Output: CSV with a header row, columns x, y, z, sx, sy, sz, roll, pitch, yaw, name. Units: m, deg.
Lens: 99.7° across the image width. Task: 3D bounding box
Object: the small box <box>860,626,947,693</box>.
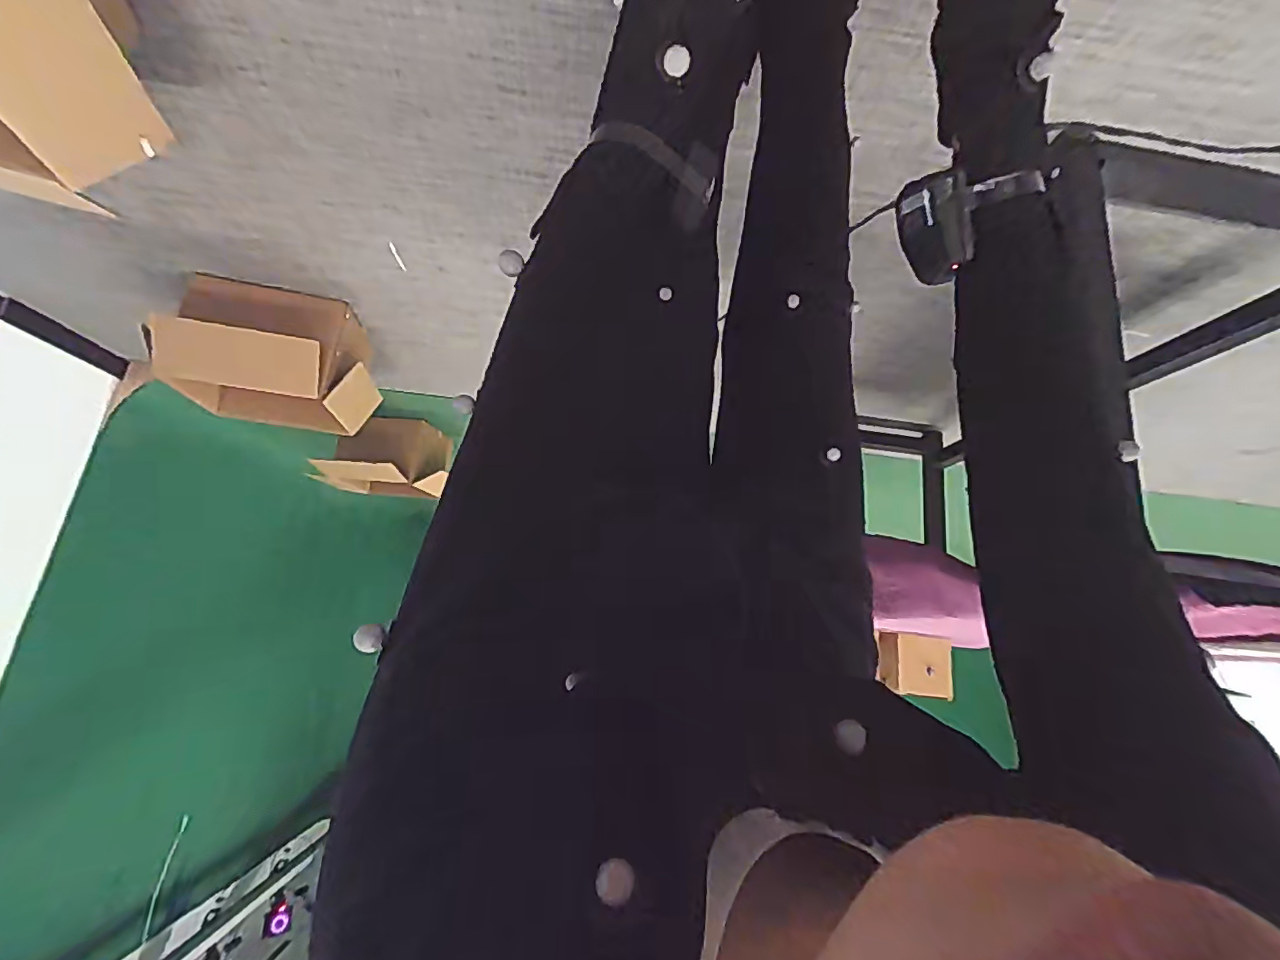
x,y,z,sx,sy,sz,roll,pitch,yaw,name
0.789,0.537,1.628,0.179,0.176,0.168,9,164,-10,small box
